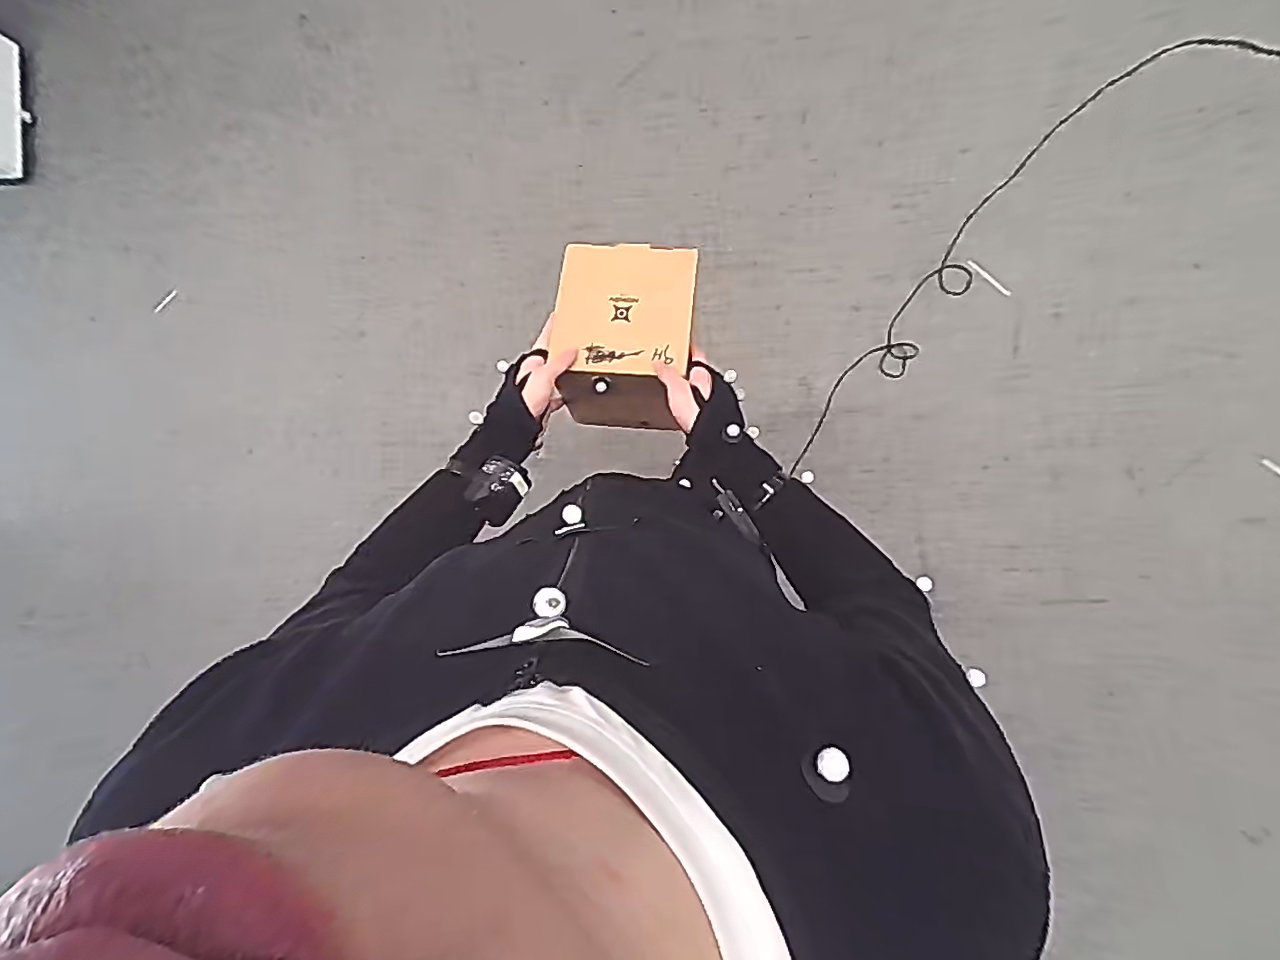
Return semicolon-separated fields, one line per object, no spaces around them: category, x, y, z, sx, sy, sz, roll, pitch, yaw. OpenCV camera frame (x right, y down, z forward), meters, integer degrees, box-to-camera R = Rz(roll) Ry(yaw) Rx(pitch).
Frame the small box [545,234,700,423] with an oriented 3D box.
small box;-0.013;-0.193;0.715;0.168;0.176;0.179;5;74;7
